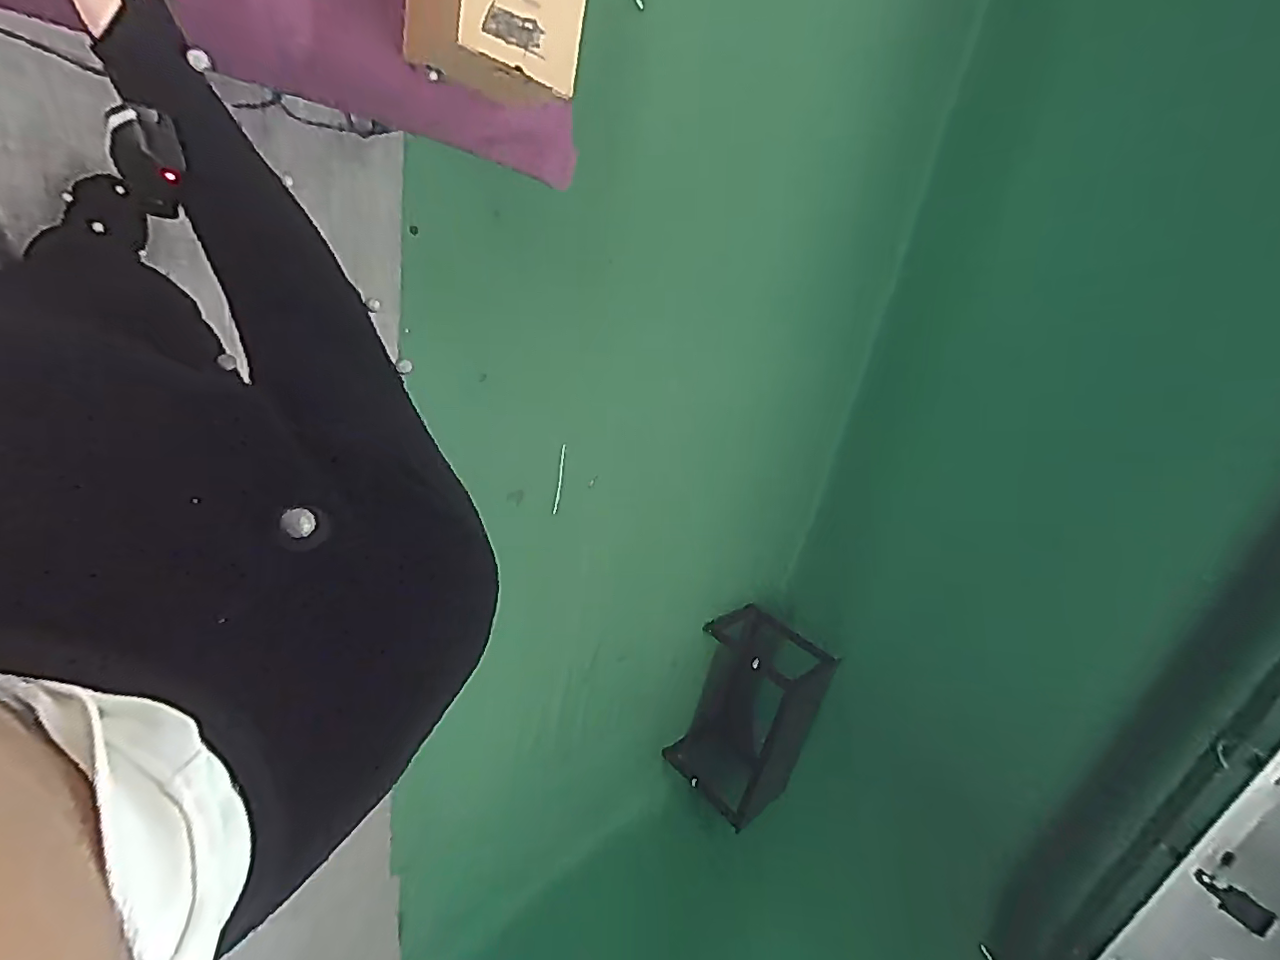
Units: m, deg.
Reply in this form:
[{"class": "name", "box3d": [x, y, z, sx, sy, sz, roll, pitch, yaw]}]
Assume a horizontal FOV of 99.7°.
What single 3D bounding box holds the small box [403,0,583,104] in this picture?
[{"class": "small box", "box3d": [-0.193, -0.618, 0.702, 0.168, 0.176, 0.179, -6, 116, -45]}]
